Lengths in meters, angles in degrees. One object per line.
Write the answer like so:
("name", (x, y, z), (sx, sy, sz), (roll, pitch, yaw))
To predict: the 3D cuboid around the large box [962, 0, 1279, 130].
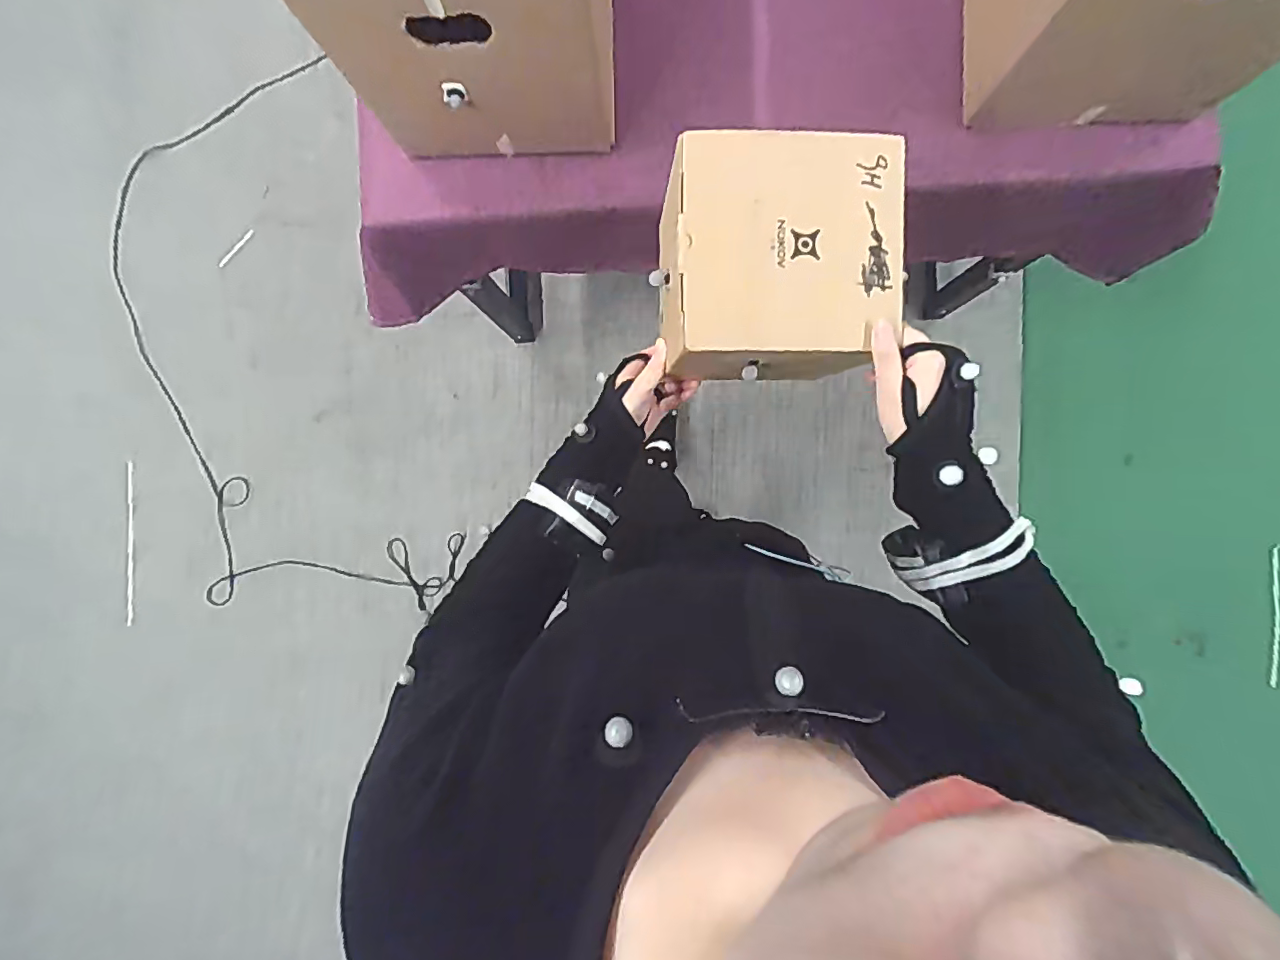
("large box", (0.602, -0.693, 0.613), (0.320, 0.320, 0.408), (1, 90, 3))
